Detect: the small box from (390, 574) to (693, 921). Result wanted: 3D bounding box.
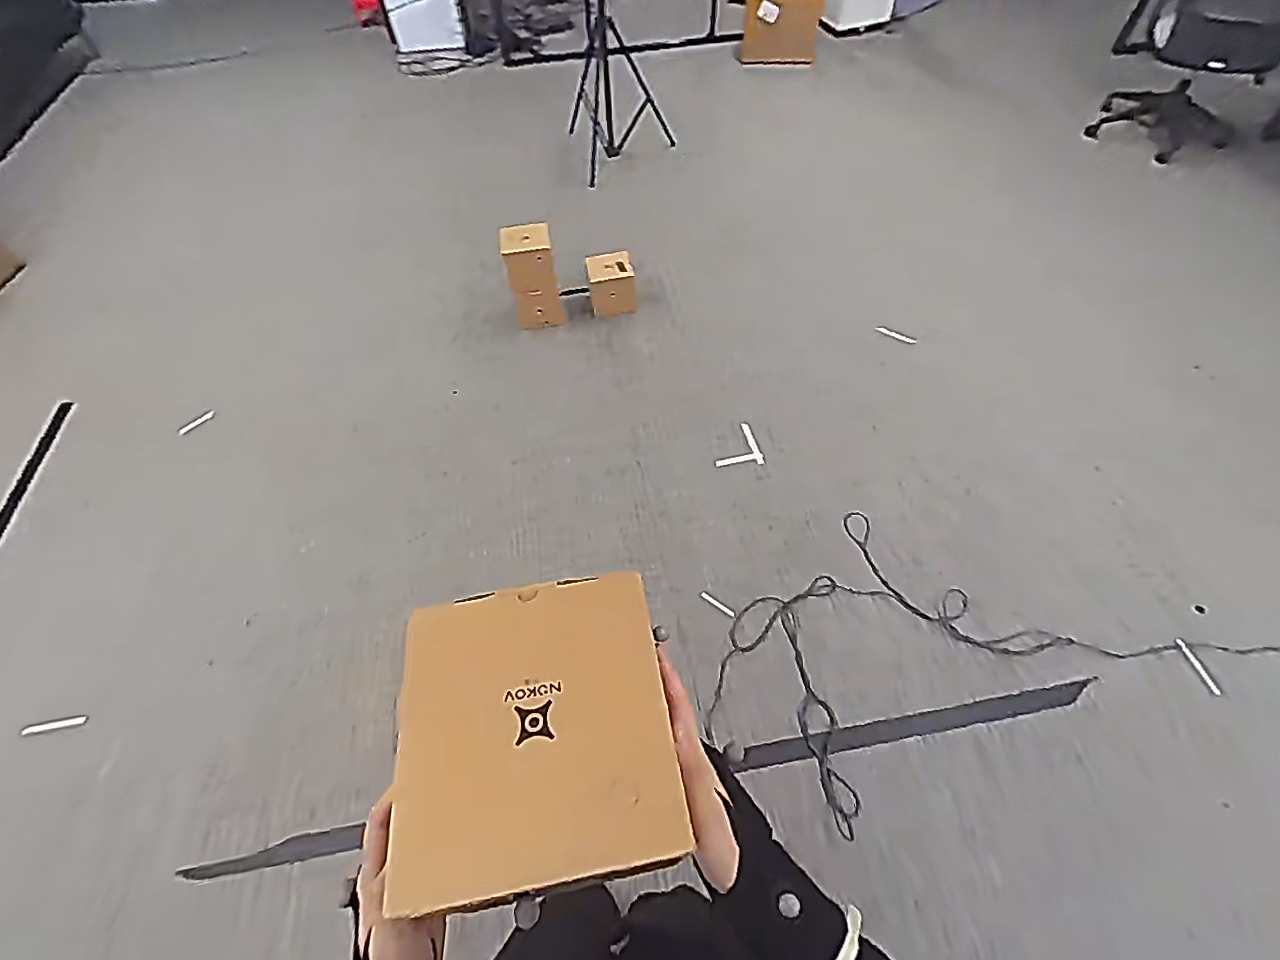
[{"bbox_3d":[-0.061,0.195,0.397,0.168,0.176,0.179,-8,52,-6],"label":"small box"}]

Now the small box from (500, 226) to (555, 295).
[{"bbox_3d":[-0.415,-0.816,2.017,0.179,0.176,0.168,-10,55,-4],"label":"small box"}]

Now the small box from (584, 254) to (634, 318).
[{"bbox_3d":[-0.120,-0.778,2.176,0.179,0.176,0.168,-11,57,-3],"label":"small box"}]
